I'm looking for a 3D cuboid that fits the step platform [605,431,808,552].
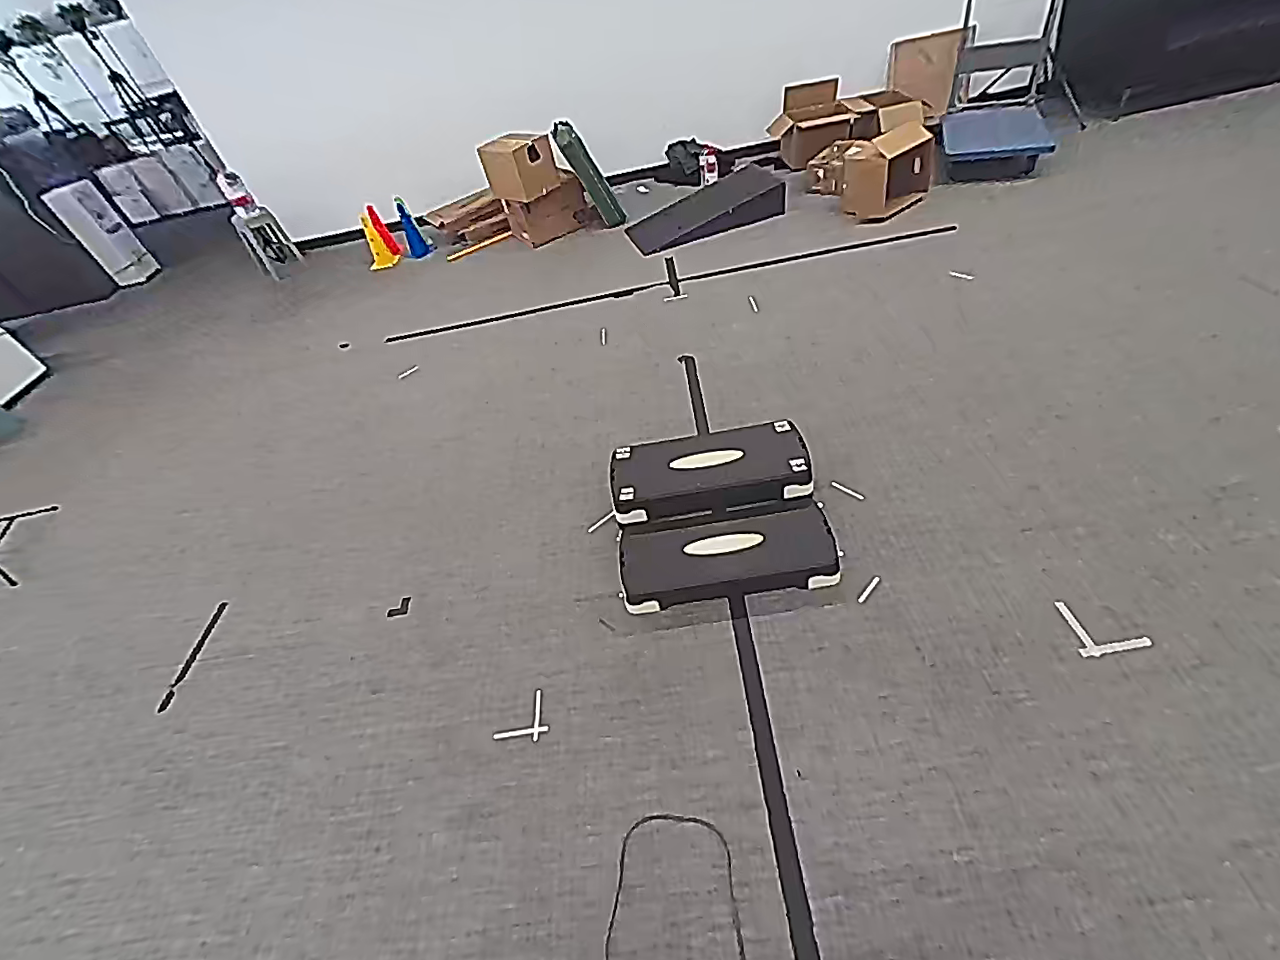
[{"bbox_3d":[0.220,0.033,1.872,0.684,0.204,0.286,-10,45,3],"label":"step platform"}]
